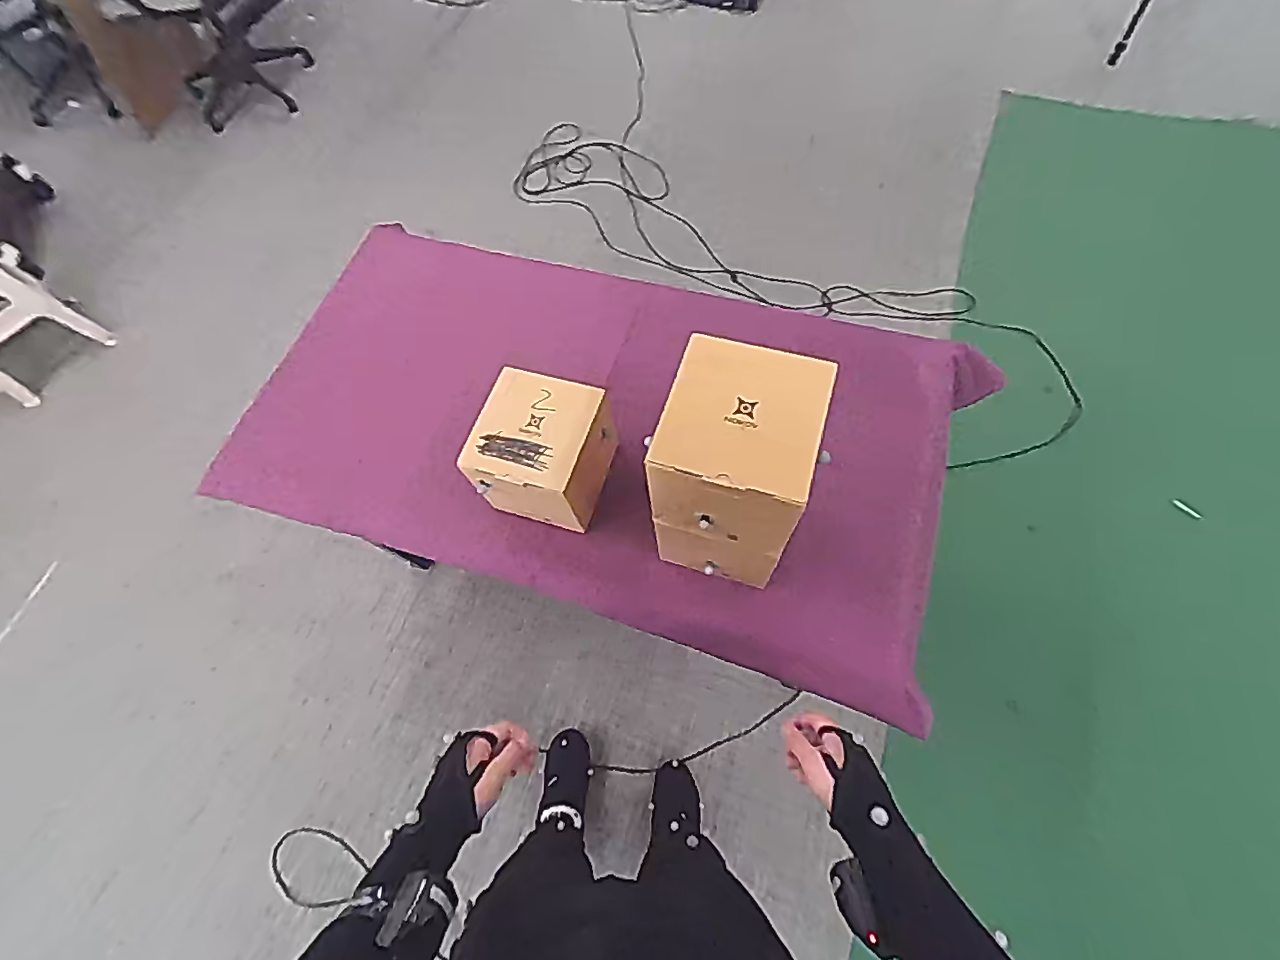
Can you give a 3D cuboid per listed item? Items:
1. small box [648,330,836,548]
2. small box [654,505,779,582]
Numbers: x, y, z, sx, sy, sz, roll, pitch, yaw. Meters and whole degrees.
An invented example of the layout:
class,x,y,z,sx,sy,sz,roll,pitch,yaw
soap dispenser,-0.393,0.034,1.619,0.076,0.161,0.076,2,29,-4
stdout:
class,x,y,z,sx,sy,sz,roll,pitch,yaw
small box,0.114,-0.041,0.641,0.168,0.176,0.179,16,68,11
small box,0.125,0.028,0.789,0.168,0.176,0.179,16,69,12
